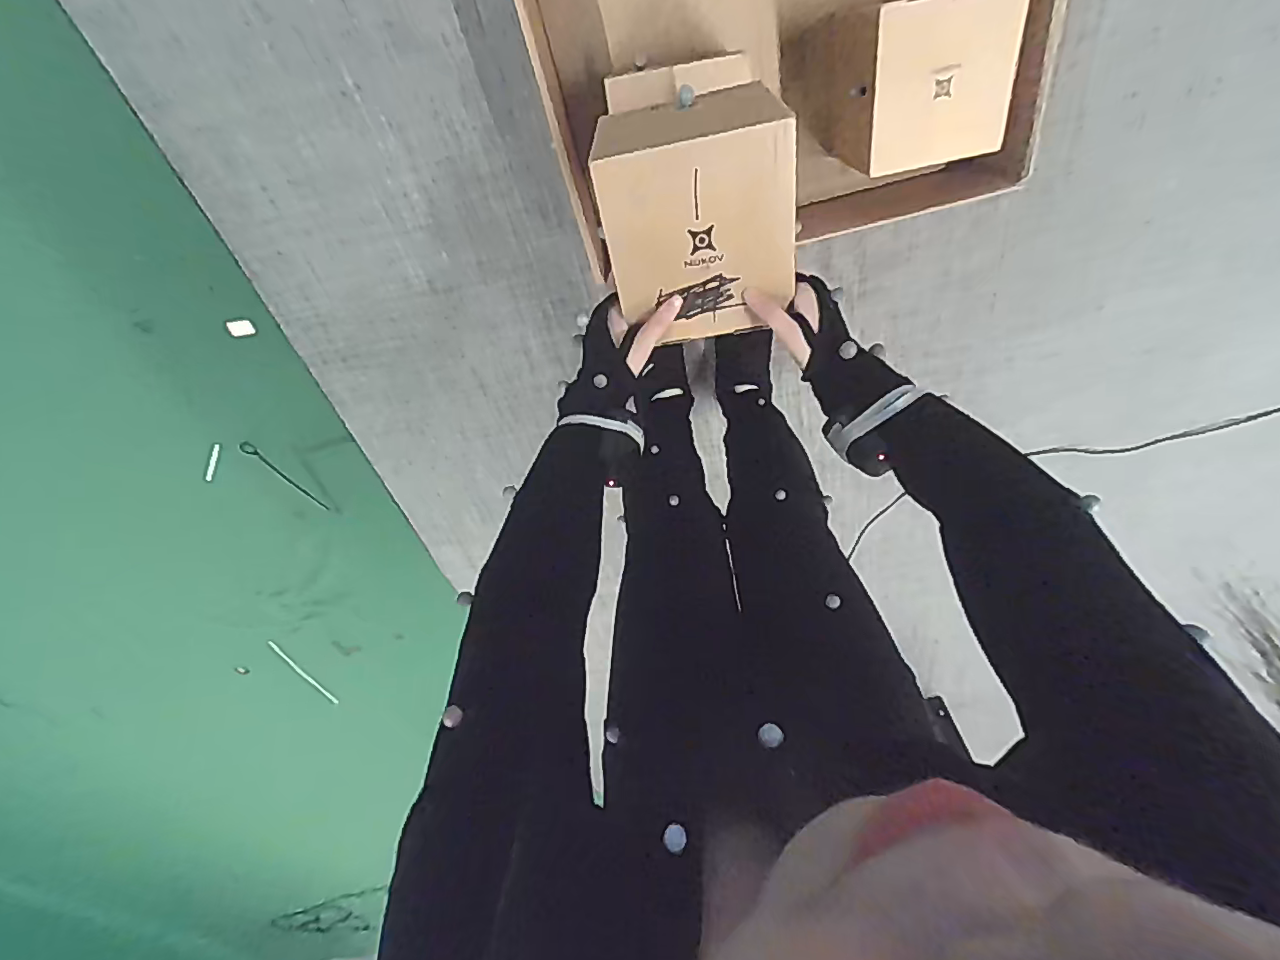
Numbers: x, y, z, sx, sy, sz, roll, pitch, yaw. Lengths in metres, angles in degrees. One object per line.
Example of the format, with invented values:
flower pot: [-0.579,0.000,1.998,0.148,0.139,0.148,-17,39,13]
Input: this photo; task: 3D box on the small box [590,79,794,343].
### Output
small box: [0.055,-0.266,0.540,0.168,0.176,0.179,-8,134,8]
